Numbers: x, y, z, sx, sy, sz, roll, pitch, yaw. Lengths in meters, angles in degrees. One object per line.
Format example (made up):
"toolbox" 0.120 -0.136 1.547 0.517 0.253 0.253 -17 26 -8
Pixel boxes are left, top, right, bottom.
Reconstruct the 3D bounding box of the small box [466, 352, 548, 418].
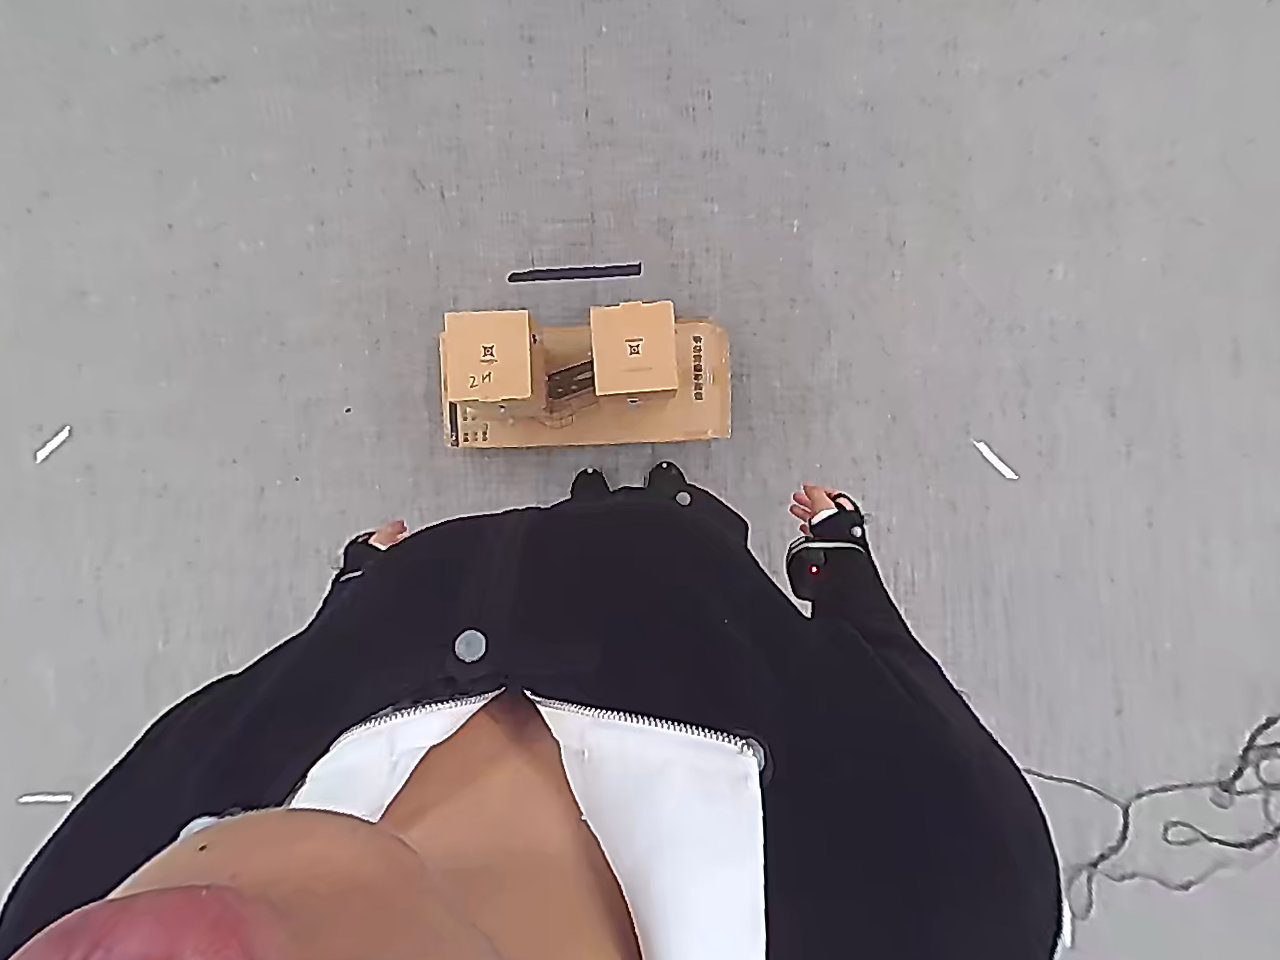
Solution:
"small box" -0.318 -0.245 1.304 0.168 0.176 0.179 -3 93 0

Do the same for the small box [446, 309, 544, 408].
"small box" -0.298 -0.248 1.138 0.168 0.176 0.179 -1 92 0

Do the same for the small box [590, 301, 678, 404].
"small box" -0.012 -0.261 1.140 0.168 0.176 0.179 -5 92 2

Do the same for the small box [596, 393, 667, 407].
"small box" -0.017 -0.269 1.304 0.168 0.176 0.179 -1 93 2
